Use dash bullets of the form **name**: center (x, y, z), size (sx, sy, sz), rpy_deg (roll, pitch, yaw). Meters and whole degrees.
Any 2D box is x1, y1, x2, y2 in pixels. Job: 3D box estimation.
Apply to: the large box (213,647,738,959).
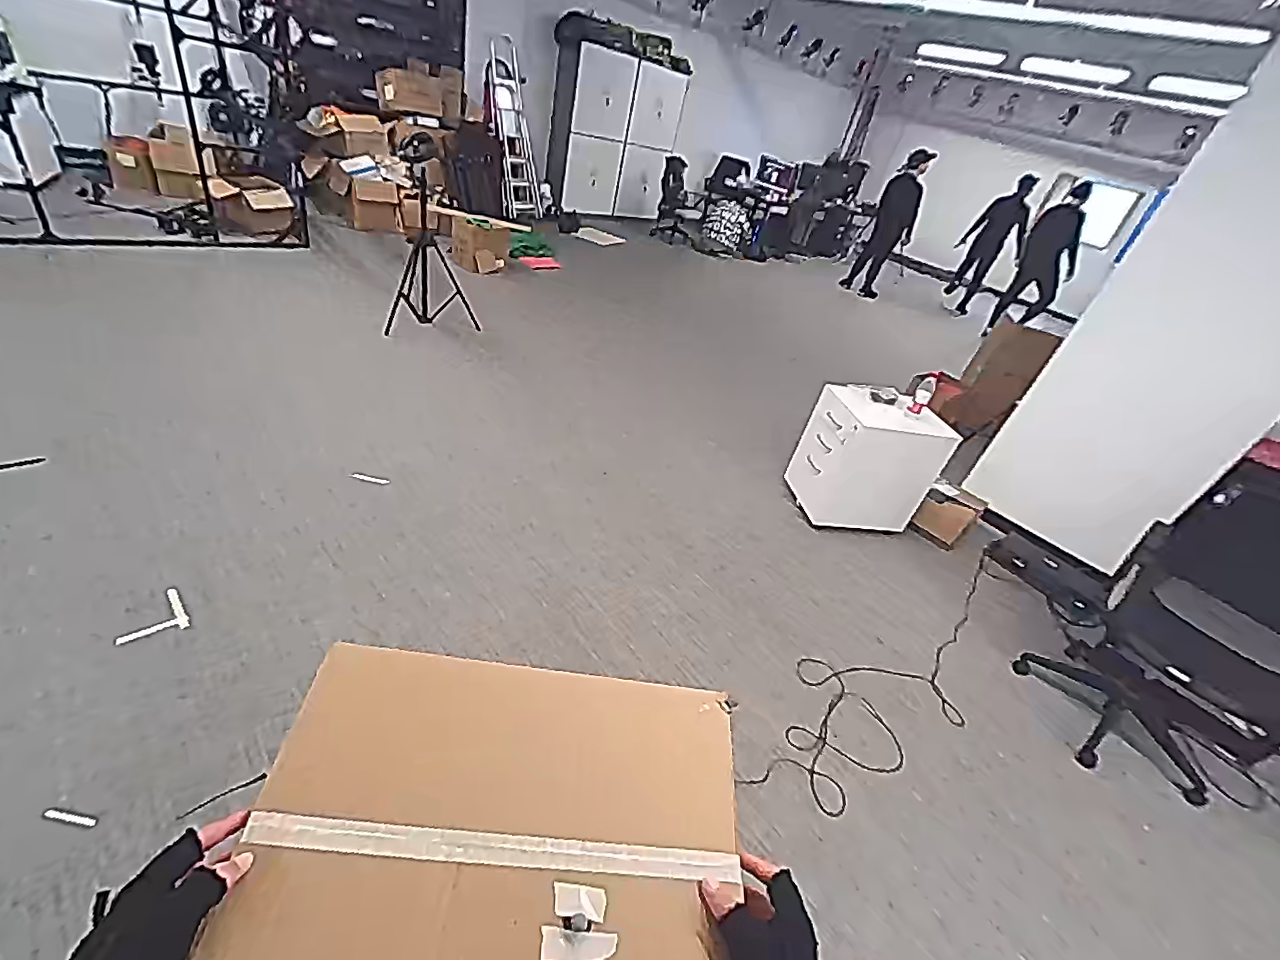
- **large box**: center (-0.141, 0.410, 0.578), size (0.408, 0.320, 0.320), rpy_deg (10, 47, -7)
